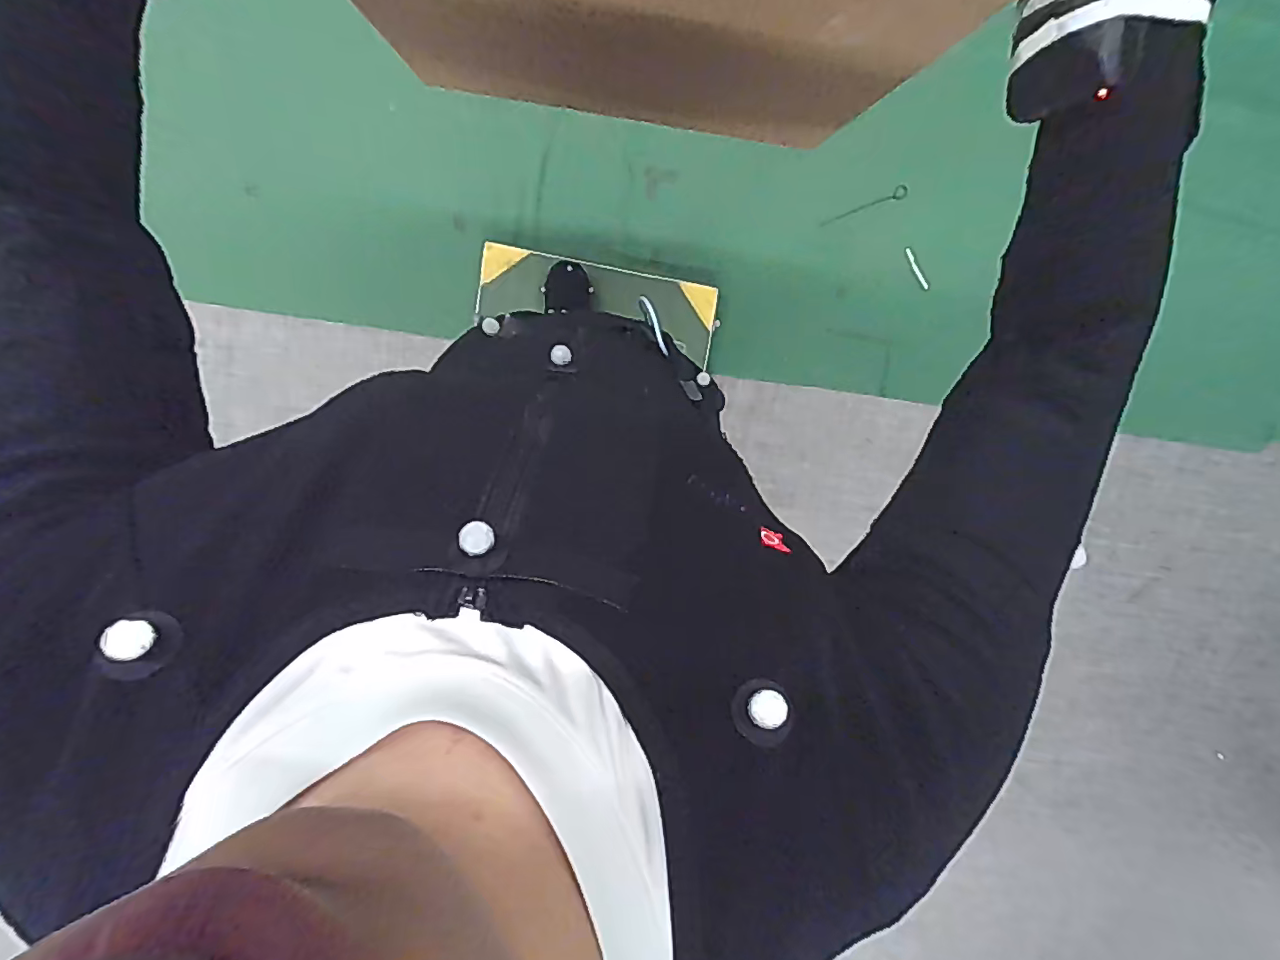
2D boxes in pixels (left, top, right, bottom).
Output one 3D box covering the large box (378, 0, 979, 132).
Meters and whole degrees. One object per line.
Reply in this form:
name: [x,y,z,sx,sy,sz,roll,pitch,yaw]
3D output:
large box: [0.016,-0.474,0.359,0.408,0.320,0.320,5,109,-6]
